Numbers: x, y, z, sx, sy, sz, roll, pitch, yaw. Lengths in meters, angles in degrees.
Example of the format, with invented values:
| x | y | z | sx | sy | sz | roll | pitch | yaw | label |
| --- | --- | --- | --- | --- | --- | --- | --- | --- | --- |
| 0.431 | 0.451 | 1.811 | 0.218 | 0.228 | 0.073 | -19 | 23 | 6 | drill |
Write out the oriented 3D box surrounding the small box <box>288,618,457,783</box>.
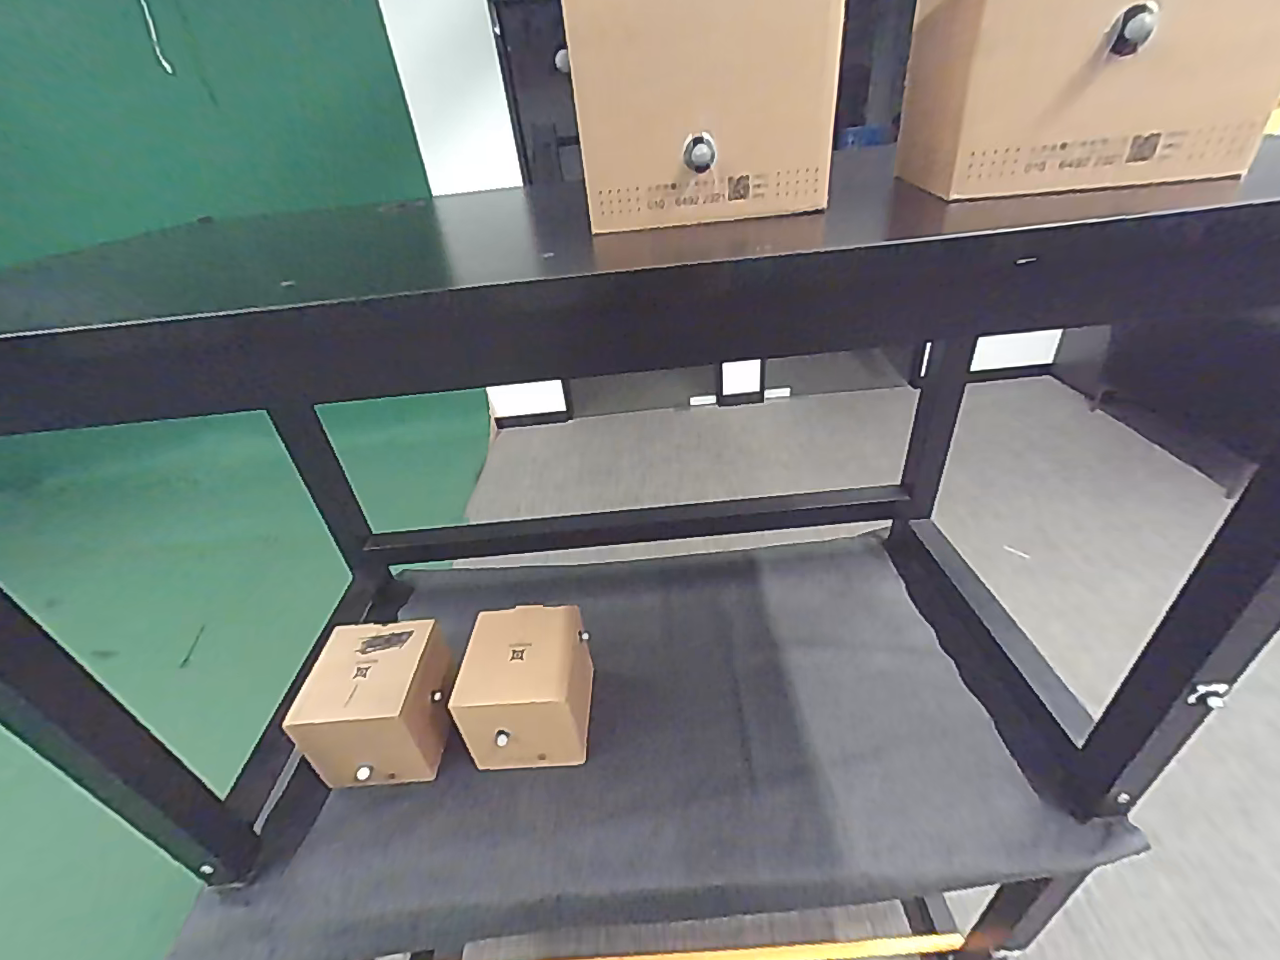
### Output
| x | y | z | sx | sy | sz | roll | pitch | yaw | label |
| --- | --- | --- | --- | --- | --- | --- | --- | --- | --- |
| -0.400 | 0.345 | 0.853 | 0.168 | 0.176 | 0.179 | -5 | 34 | 2 | small box |

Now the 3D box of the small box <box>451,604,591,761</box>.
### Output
| x | y | z | sx | sy | sz | roll | pitch | yaw | label |
| --- | --- | --- | --- | --- | --- | --- | --- | --- | --- |
| -0.174 | 0.322 | 0.854 | 0.168 | 0.176 | 0.179 | -4 | 33 | 3 | small box |

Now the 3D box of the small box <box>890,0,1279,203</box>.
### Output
| x | y | z | sx | sy | sz | roll | pitch | yaw | label |
| --- | --- | --- | --- | --- | --- | --- | --- | --- | --- |
| 0.287 | -0.297 | 0.377 | 0.168 | 0.176 | 0.179 | 1 | 33 | 11 | small box |
